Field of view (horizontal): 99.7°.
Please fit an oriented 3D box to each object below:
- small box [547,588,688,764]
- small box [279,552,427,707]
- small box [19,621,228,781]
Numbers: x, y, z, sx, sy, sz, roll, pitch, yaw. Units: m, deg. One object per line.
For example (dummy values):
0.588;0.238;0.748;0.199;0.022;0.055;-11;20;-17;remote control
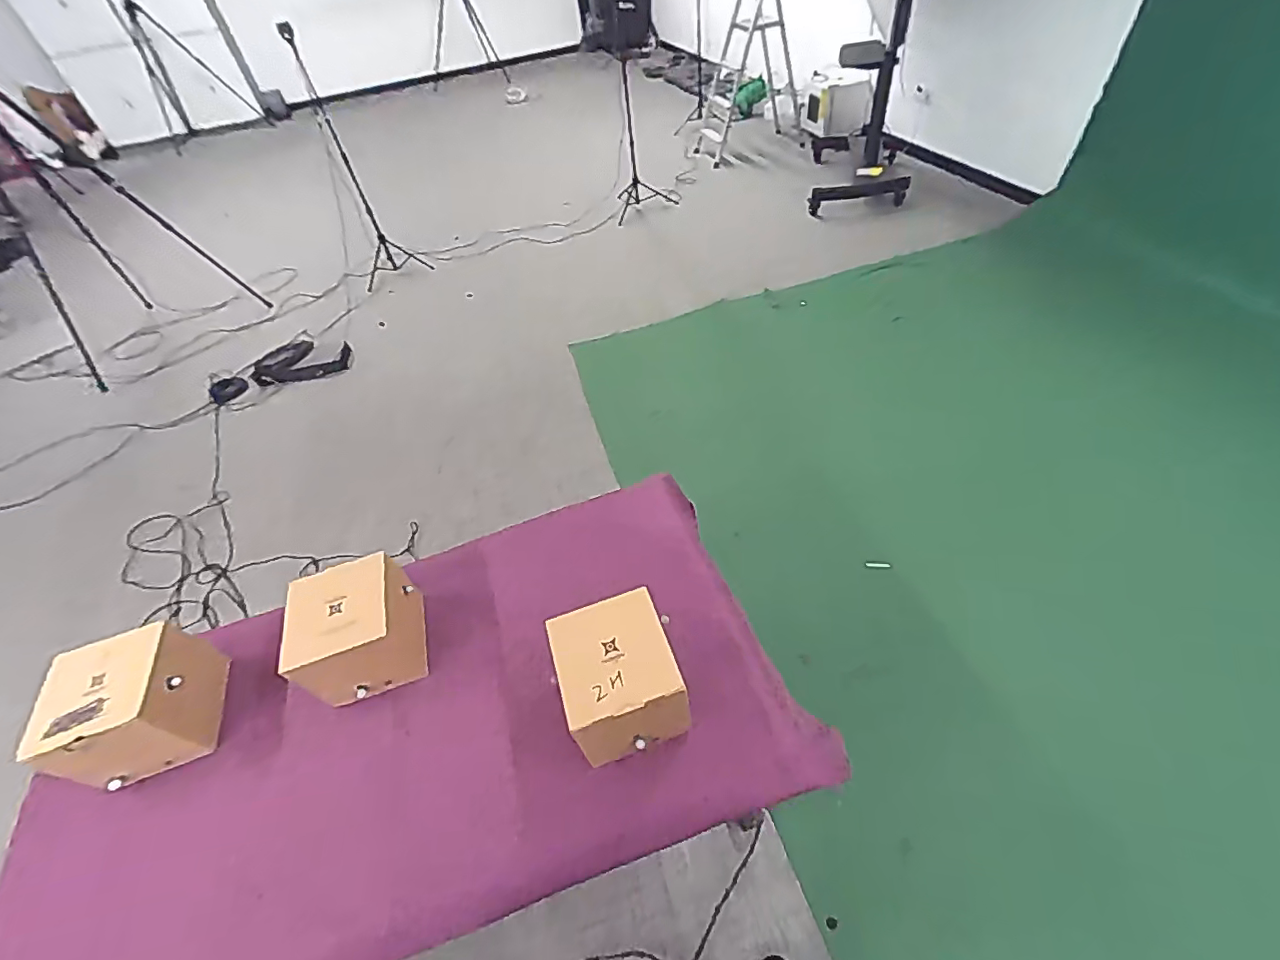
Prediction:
-0.033;0.303;0.835;0.168;0.176;0.179;-18;47;-7;small box
-0.488;0.262;0.944;0.168;0.176;0.179;-18;49;-8;small box
-0.825;0.370;0.891;0.168;0.176;0.179;-19;48;-9;small box
